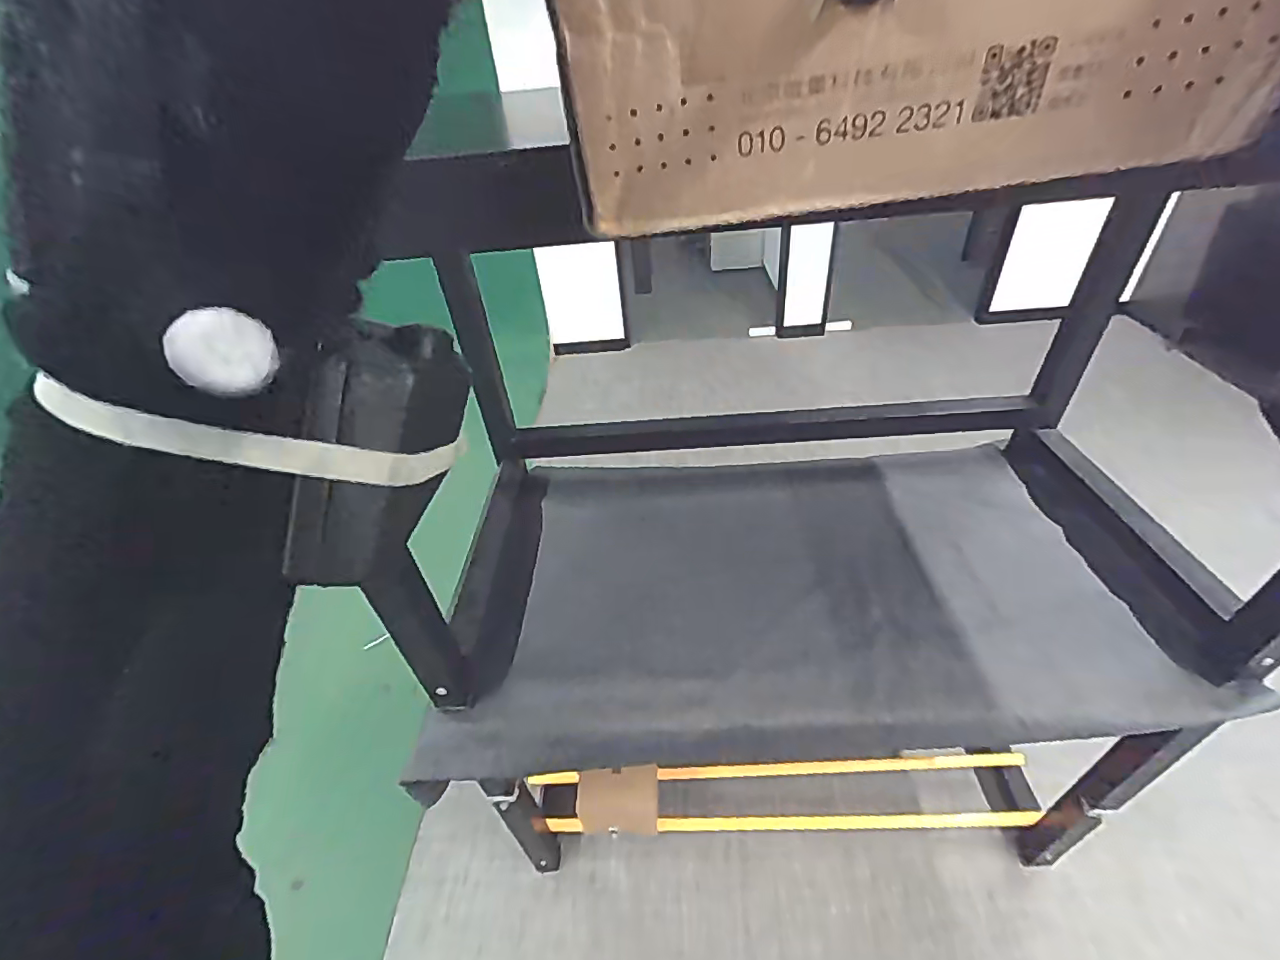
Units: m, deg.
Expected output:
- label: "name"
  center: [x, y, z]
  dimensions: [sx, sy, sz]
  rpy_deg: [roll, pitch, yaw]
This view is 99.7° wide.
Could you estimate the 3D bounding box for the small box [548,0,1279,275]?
- label: "small box"
  center: [0.058, -0.182, 0.152]
  dimensions: [0.168, 0.176, 0.179]
  rpy_deg: [-5, 48, 7]
